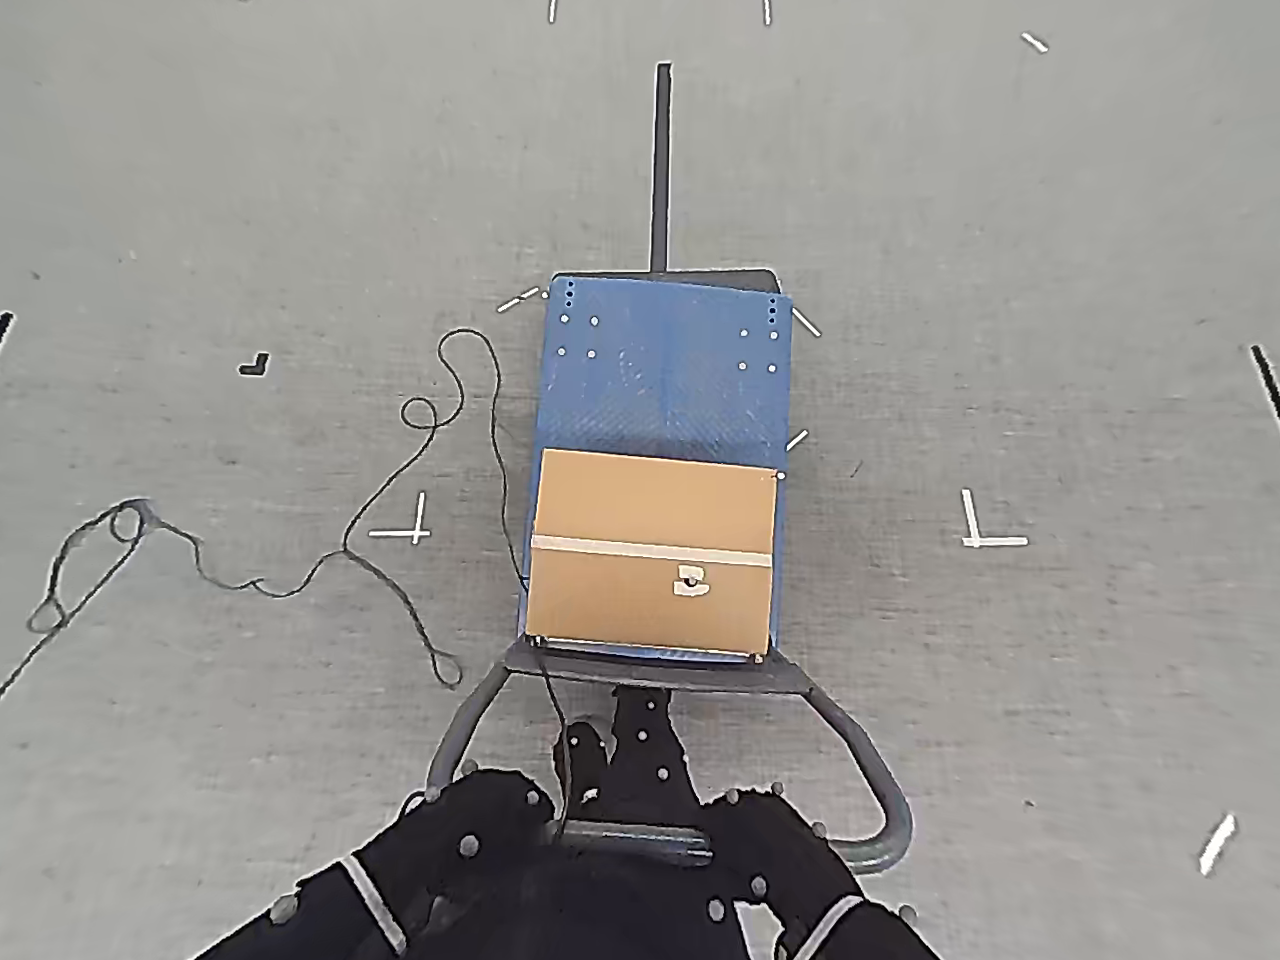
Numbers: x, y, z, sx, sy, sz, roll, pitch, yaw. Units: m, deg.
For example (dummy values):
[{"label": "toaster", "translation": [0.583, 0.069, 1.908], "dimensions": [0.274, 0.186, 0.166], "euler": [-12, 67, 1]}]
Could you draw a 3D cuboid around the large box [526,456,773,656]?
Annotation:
[{"label": "large box", "translation": [0.013, 0.143, 1.050], "dimensions": [0.408, 0.320, 0.320], "euler": [5, 84, -2]}]
